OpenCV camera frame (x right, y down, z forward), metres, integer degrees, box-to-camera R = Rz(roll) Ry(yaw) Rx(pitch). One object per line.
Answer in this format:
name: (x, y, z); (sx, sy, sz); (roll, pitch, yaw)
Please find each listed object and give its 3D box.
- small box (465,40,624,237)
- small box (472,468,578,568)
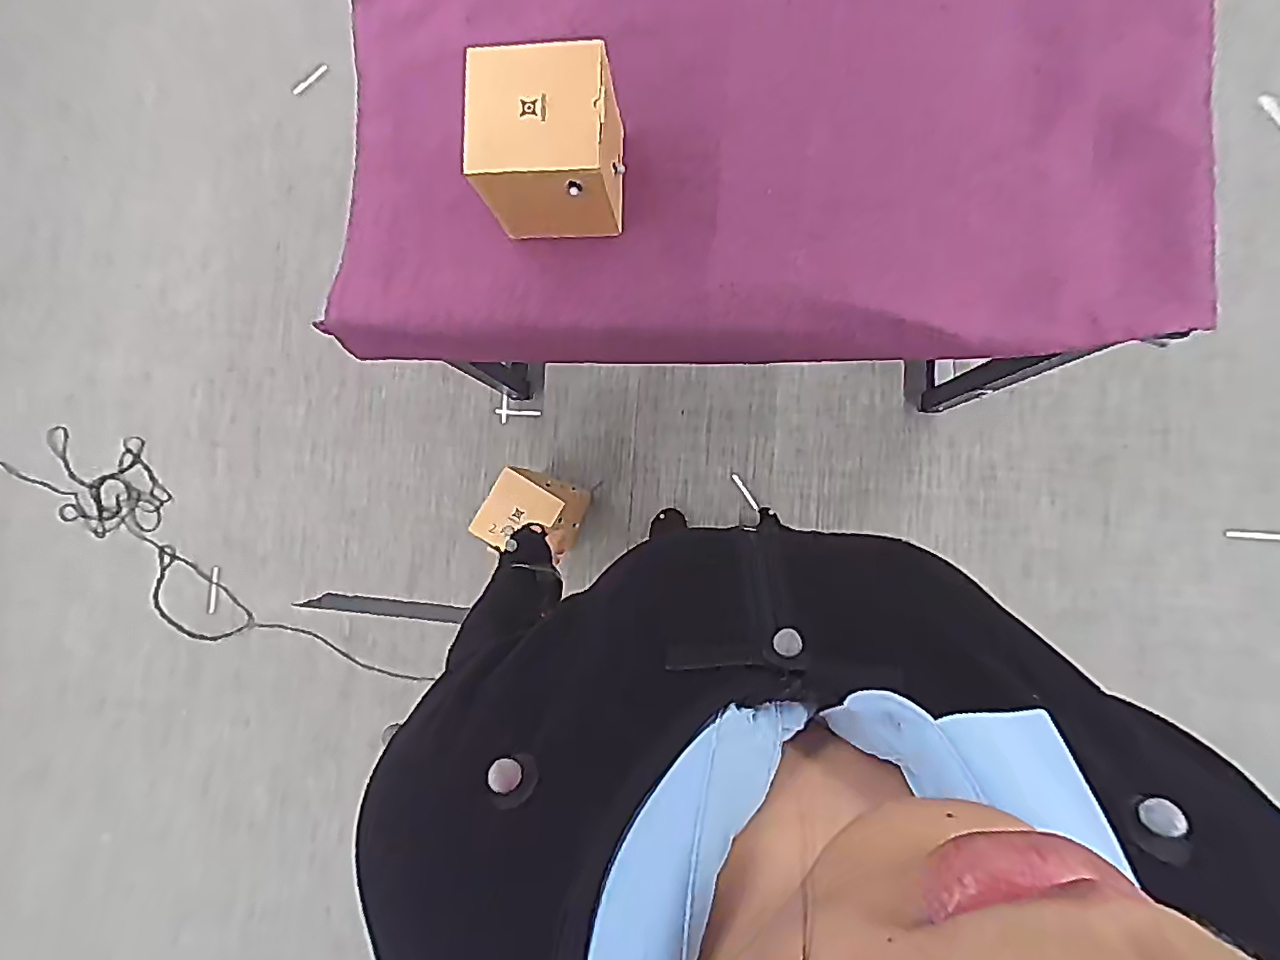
small box: (-0.121, -0.453, 0.744); (0.179, 0.176, 0.168); (0, 87, 5)
small box: (-0.265, 0.087, 1.304); (0.168, 0.176, 0.179); (31, 92, 6)
